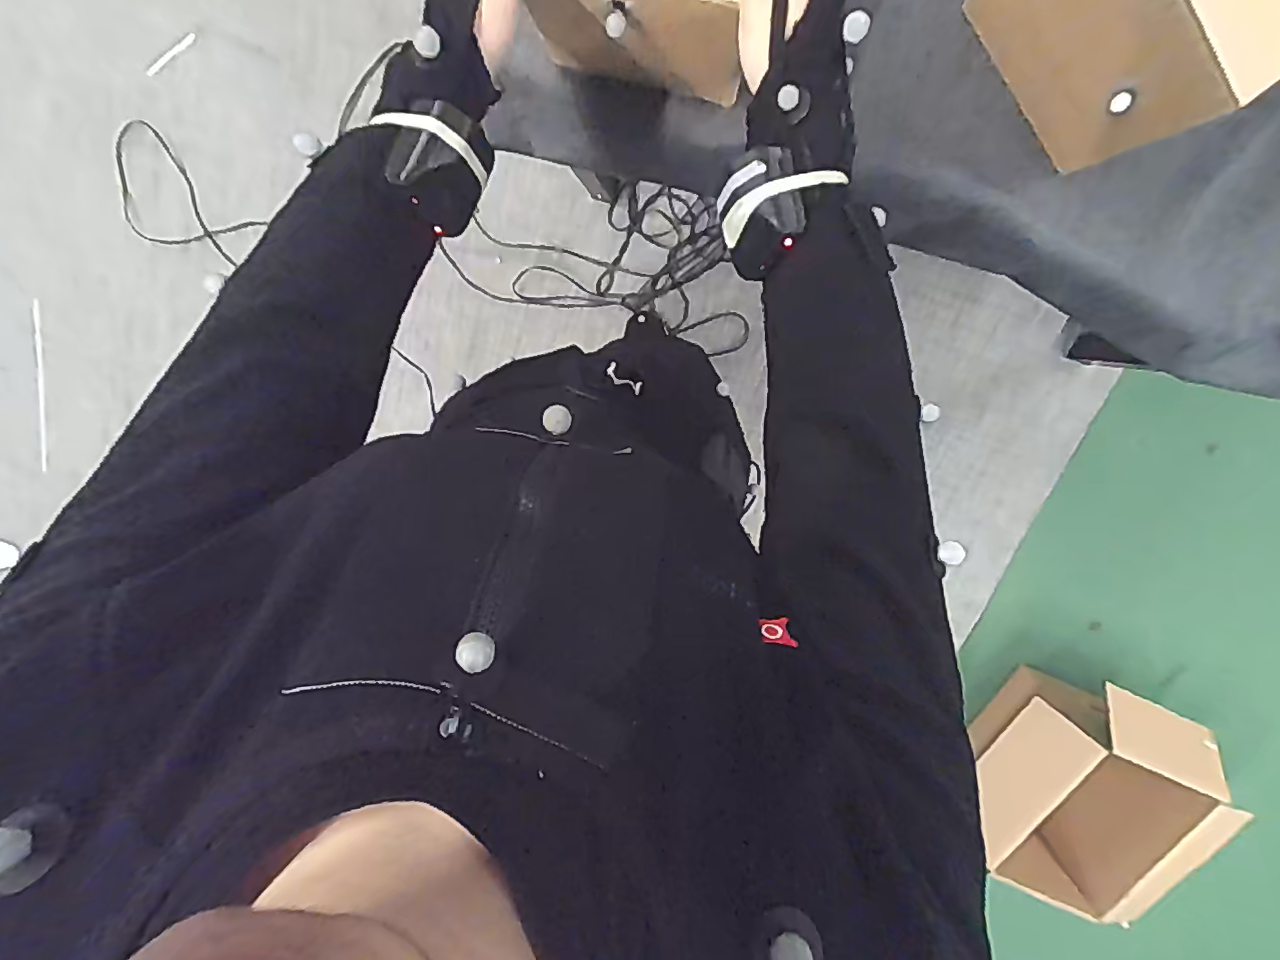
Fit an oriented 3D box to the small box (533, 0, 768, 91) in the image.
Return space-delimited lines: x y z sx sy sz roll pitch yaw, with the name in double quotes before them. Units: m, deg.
"small box" 0.020 -0.416 0.391 0.179 0.176 0.168 14 107 2
